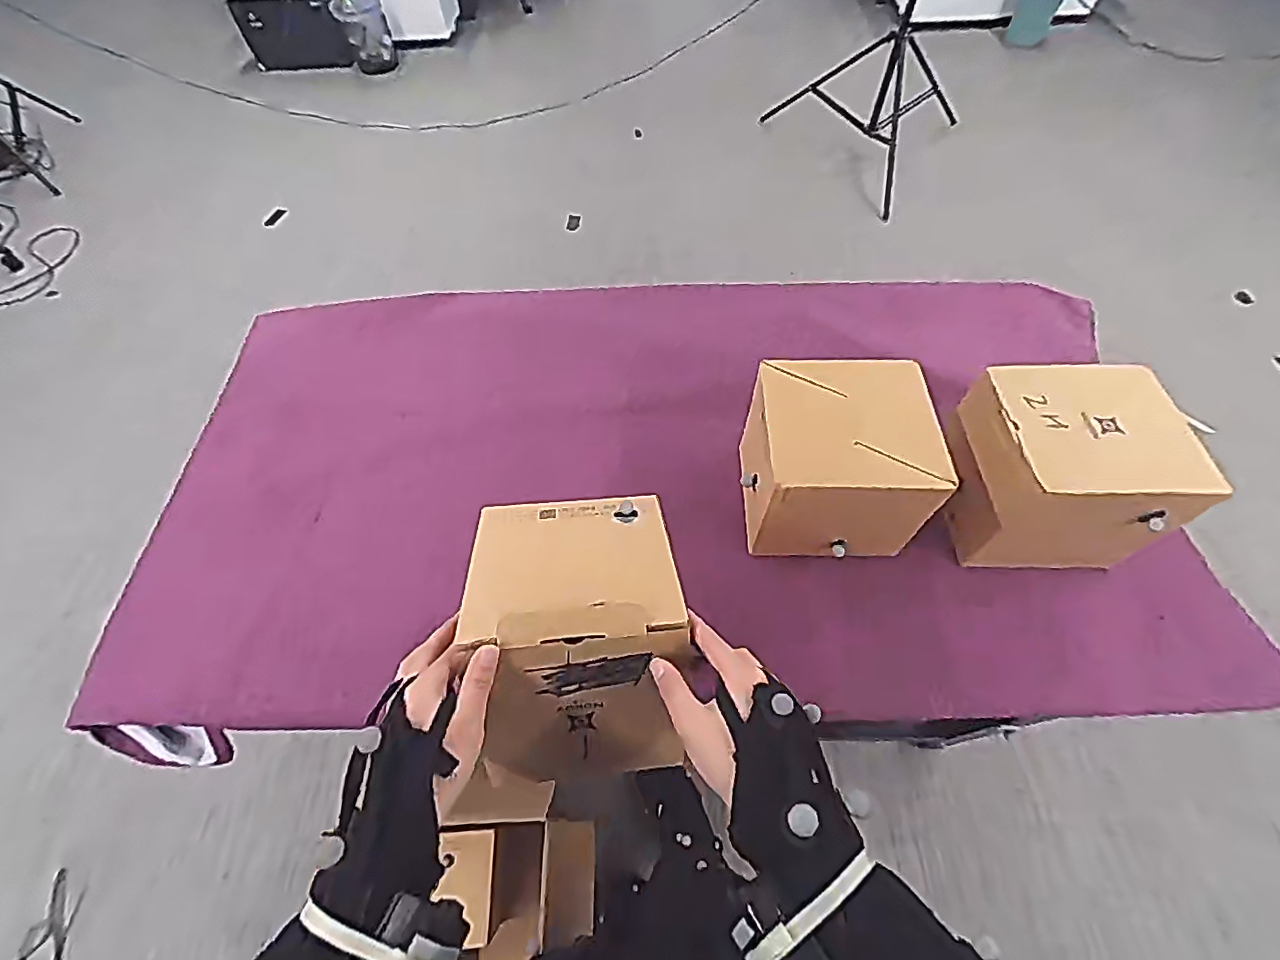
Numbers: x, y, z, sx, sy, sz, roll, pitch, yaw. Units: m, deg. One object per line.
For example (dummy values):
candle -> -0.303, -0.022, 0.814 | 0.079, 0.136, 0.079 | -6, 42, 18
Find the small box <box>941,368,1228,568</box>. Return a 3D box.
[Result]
small box -> 0.468, -0.008, 0.615 | 0.179, 0.176, 0.168 | 0, 56, 2

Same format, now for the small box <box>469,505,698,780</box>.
small box -> -0.049, 0.134, 0.490 | 0.168, 0.179, 0.176 | -3, 32, -5

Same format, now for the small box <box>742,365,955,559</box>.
small box -> 0.223, -0.018, 0.629 | 0.179, 0.176, 0.168 | 0, 57, 3
